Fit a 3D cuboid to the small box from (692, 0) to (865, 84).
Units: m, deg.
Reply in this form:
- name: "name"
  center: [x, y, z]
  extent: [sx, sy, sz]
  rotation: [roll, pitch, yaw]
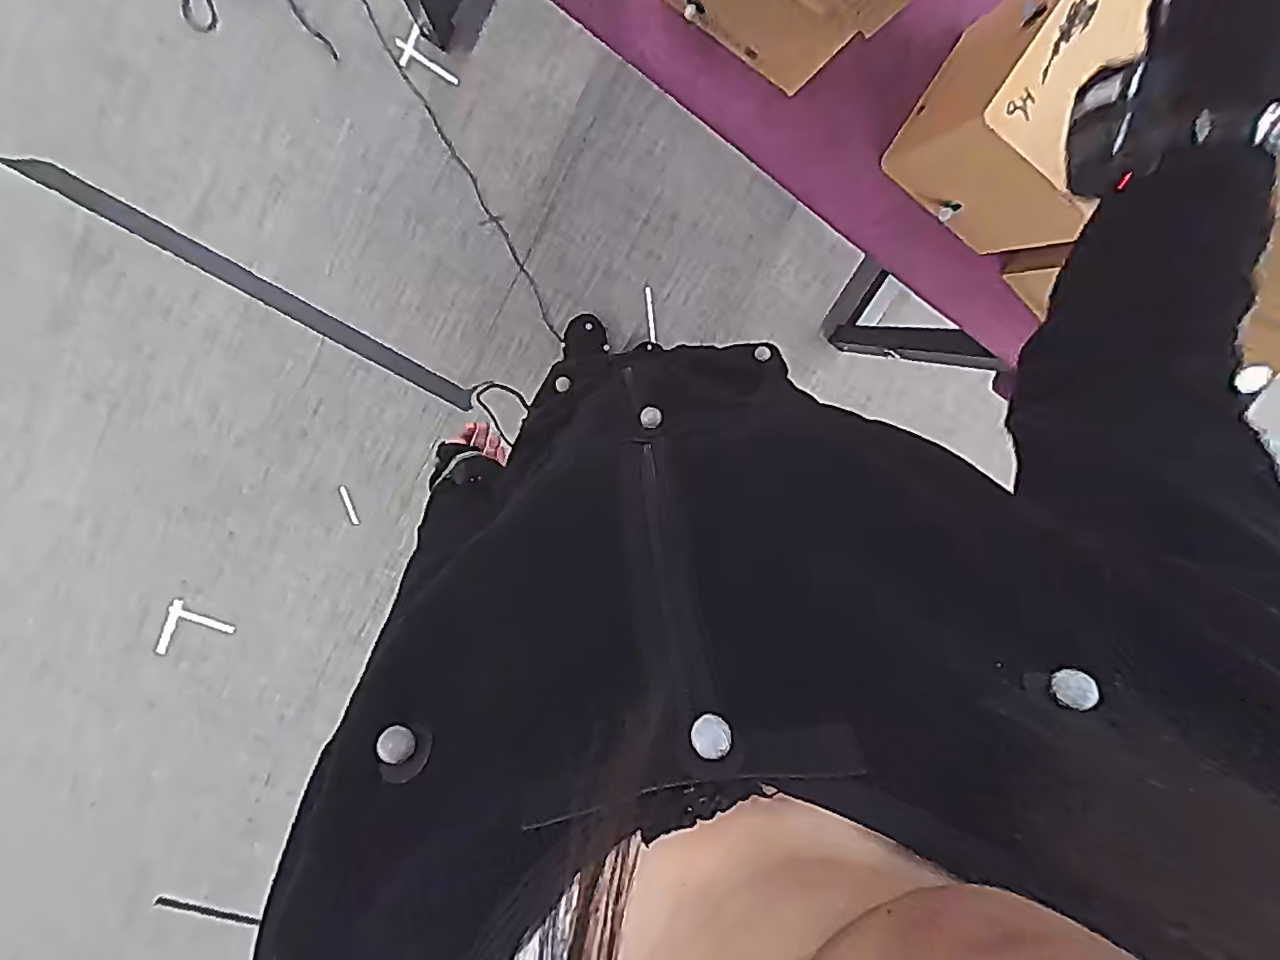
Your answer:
- name: "small box"
  center: [0.149, -0.500, 0.469]
  extent: [0.168, 0.176, 0.179]
  rotation: [27, 101, -15]
